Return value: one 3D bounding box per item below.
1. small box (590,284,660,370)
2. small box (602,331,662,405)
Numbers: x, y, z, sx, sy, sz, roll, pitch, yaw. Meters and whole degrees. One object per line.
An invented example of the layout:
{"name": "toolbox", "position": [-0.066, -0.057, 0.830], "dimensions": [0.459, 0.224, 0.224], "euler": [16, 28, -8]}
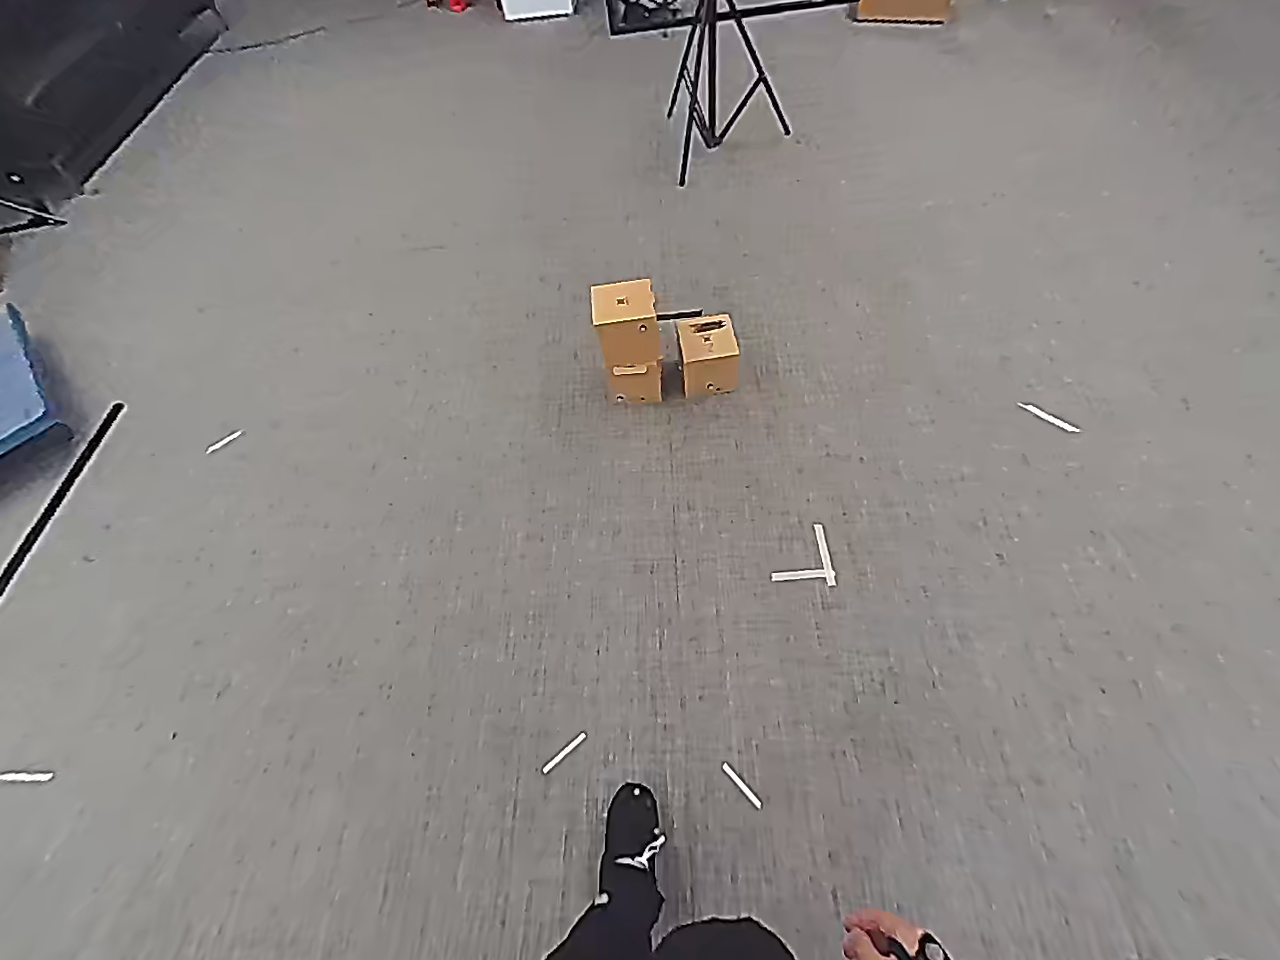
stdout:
{"name": "small box", "position": [-0.043, -0.442, 1.581], "dimensions": [0.179, 0.176, 0.168], "euler": [-8, 57, 2]}
{"name": "small box", "position": [-0.020, -0.349, 1.713], "dimensions": [0.168, 0.176, 0.179], "euler": [-2, 57, 7]}
